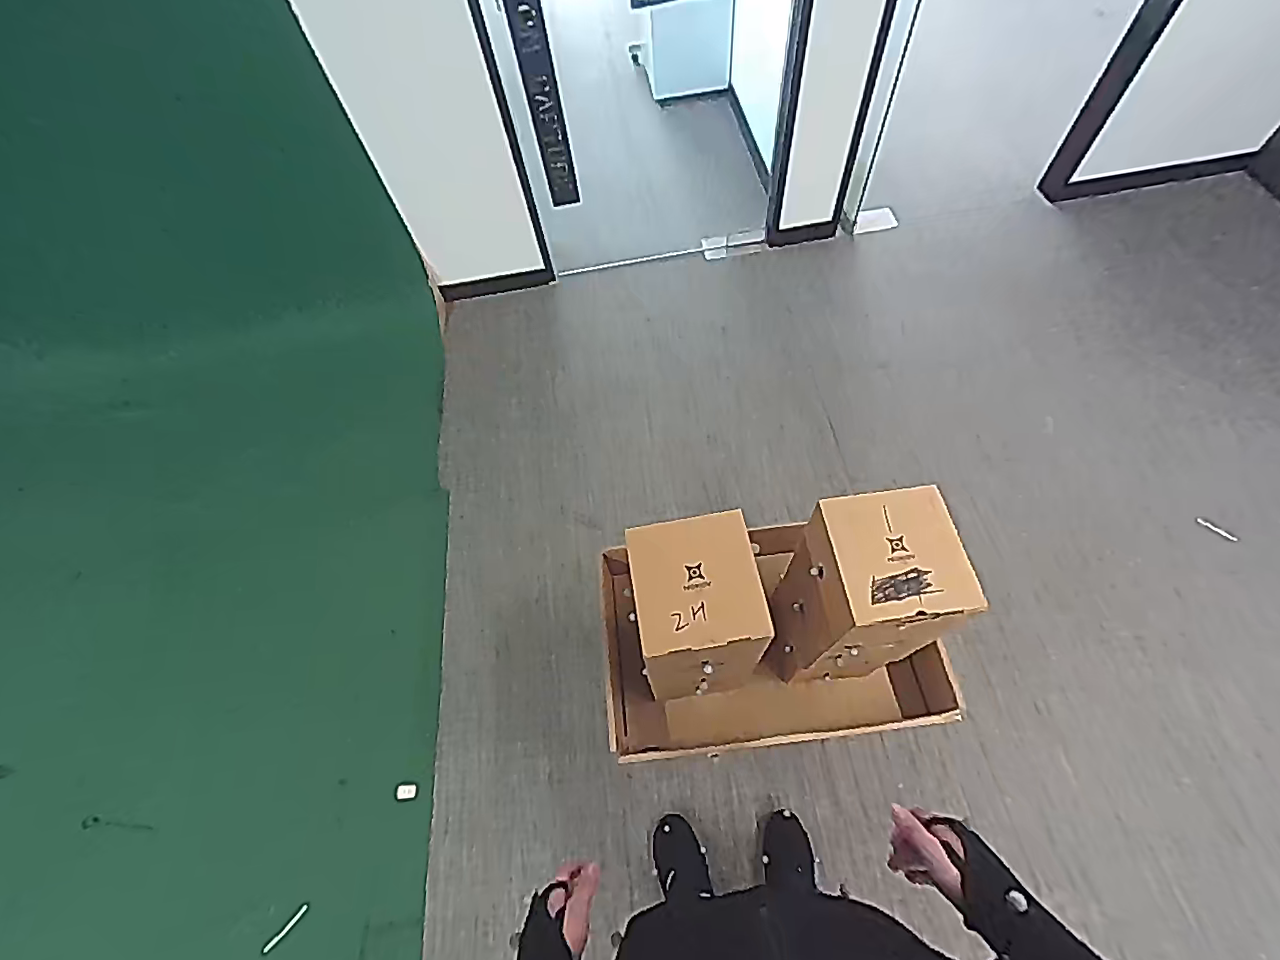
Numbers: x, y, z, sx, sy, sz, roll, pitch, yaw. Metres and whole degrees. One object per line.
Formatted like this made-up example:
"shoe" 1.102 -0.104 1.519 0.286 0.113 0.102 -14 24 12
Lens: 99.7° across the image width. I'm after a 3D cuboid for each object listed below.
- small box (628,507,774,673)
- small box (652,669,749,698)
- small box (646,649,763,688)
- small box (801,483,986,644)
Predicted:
"small box" 0.080 0.162 0.771 0.168 0.176 0.179 -10 62 1
"small box" 0.105 0.323 1.057 0.179 0.176 0.168 -8 61 0
"small box" 0.093 0.245 0.914 0.179 0.176 0.168 -10 61 -1
"small box" 0.340 0.127 0.765 0.168 0.176 0.179 -7 60 1
